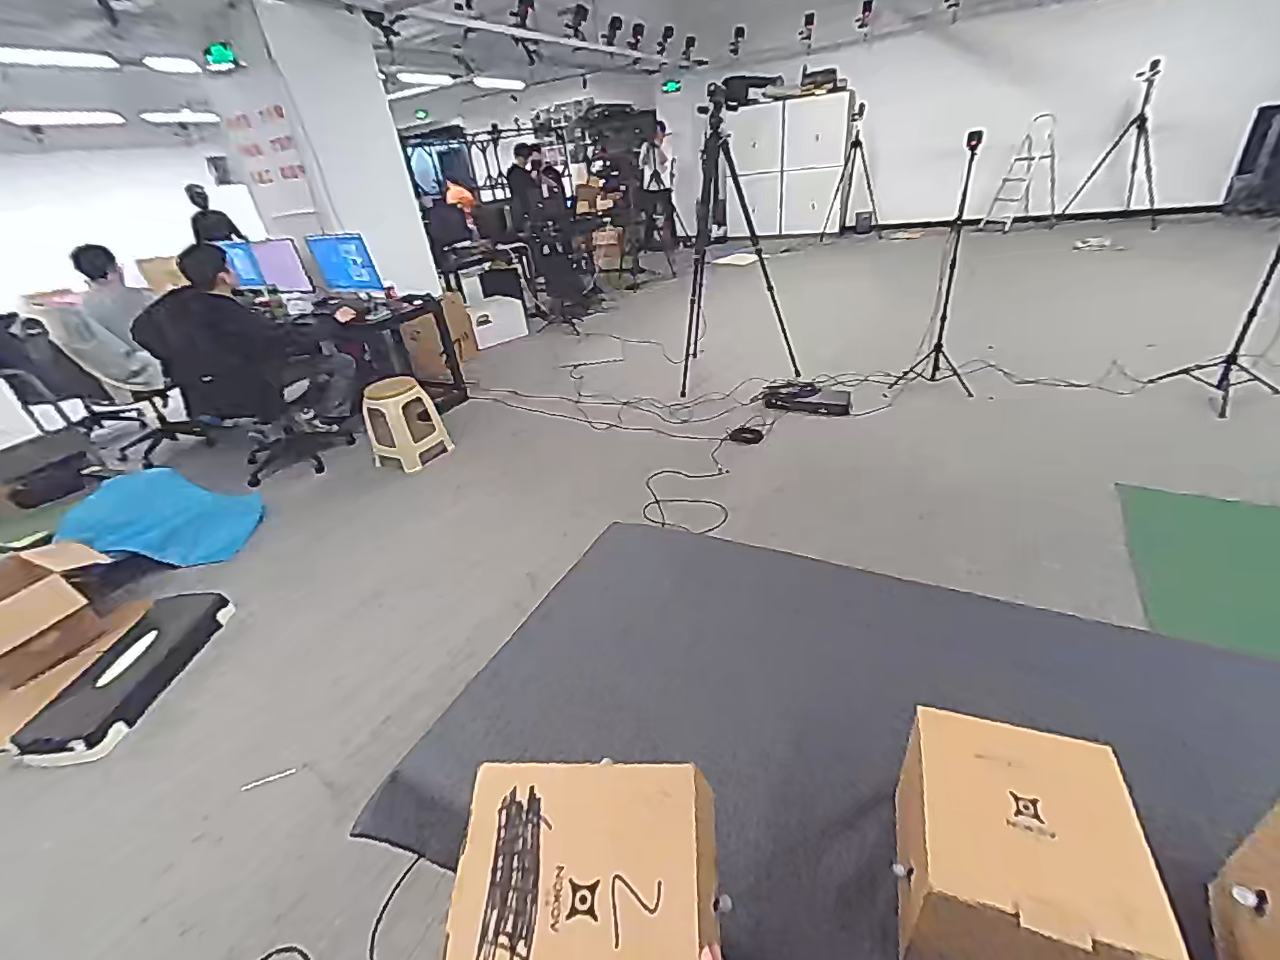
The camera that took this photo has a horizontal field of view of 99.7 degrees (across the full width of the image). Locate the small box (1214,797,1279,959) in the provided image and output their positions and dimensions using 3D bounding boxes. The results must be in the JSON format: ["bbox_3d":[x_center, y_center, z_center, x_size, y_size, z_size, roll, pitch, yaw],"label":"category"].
[{"bbox_3d":[0.574,0.390,0.397,0.179,0.176,0.168,15,37,32],"label":"small box"}]
